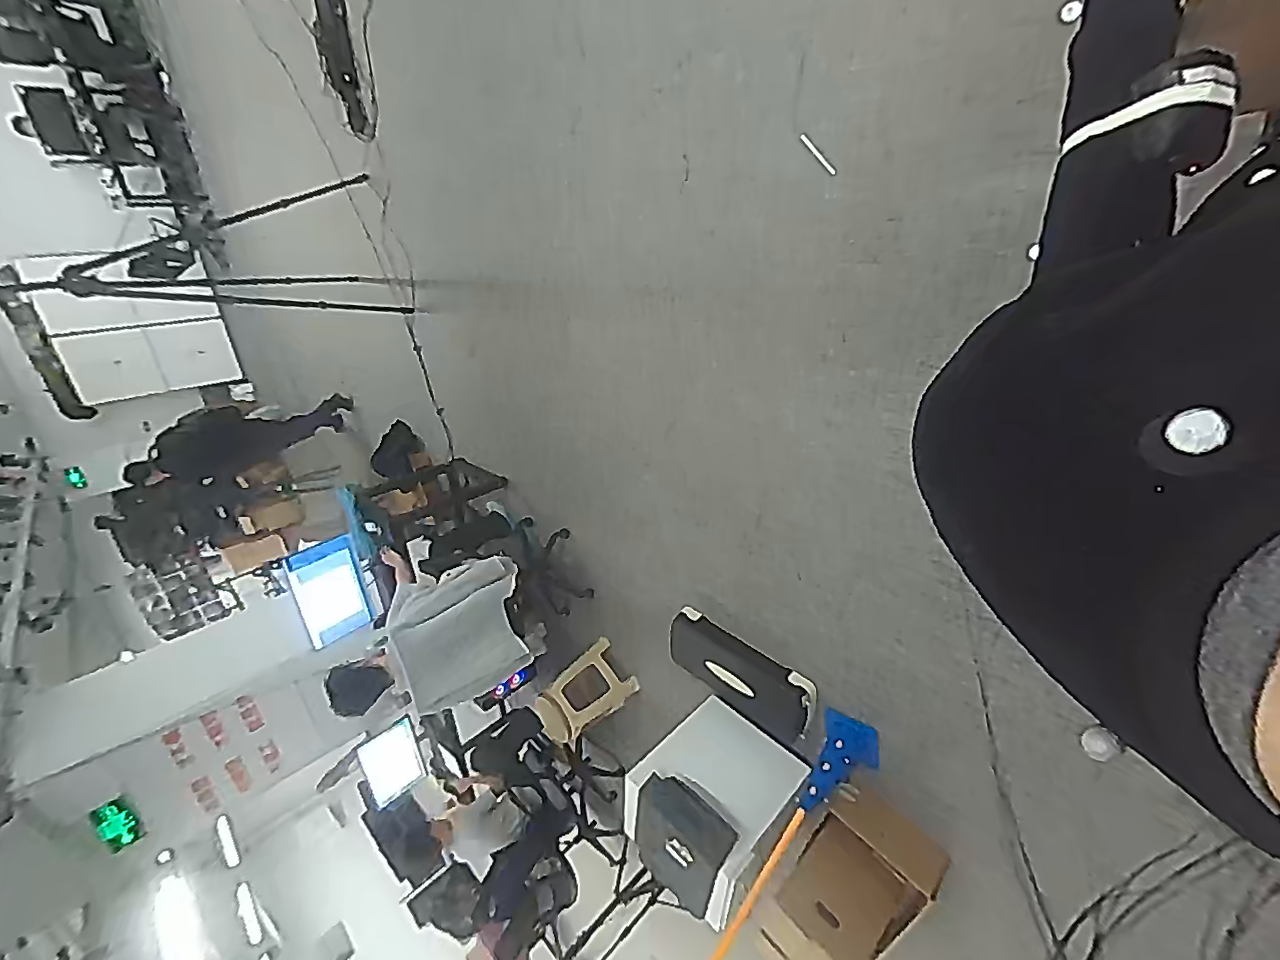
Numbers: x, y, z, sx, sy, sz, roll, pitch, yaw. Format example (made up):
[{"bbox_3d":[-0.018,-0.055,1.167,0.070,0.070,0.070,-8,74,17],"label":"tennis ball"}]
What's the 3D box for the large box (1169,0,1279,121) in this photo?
[{"bbox_3d":[0.598,-0.450,0.290,0.408,0.320,0.320,14,110,40],"label":"large box"}]
